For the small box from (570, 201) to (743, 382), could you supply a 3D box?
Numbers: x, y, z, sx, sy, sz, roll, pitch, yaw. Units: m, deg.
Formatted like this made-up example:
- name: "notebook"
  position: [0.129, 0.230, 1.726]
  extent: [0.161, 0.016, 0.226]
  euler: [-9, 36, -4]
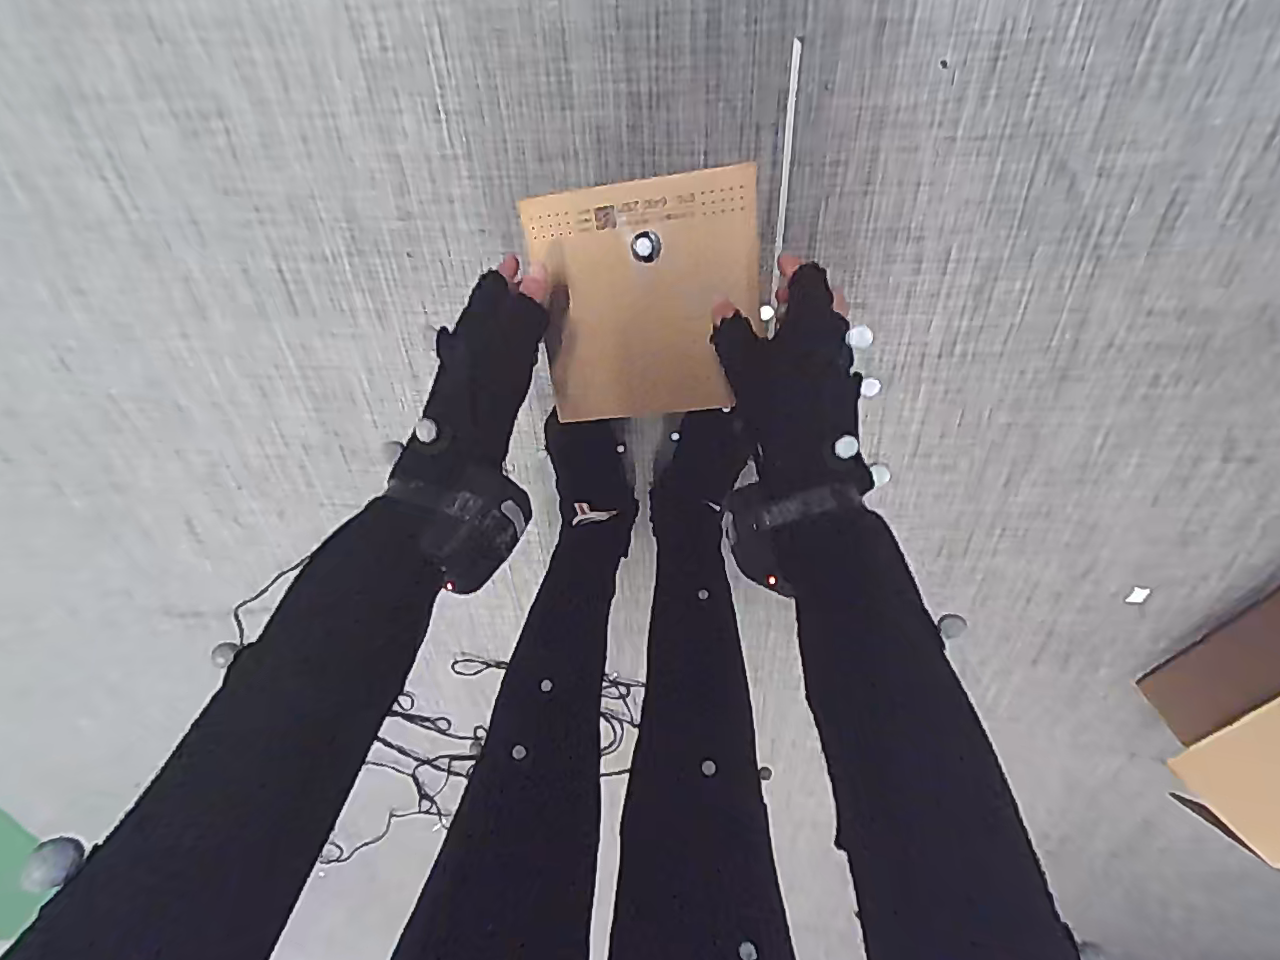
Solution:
- name: "small box"
  position: [0.029, -0.227, 0.641]
  extent: [0.179, 0.176, 0.168]
  euler: [-1, 121, 9]
